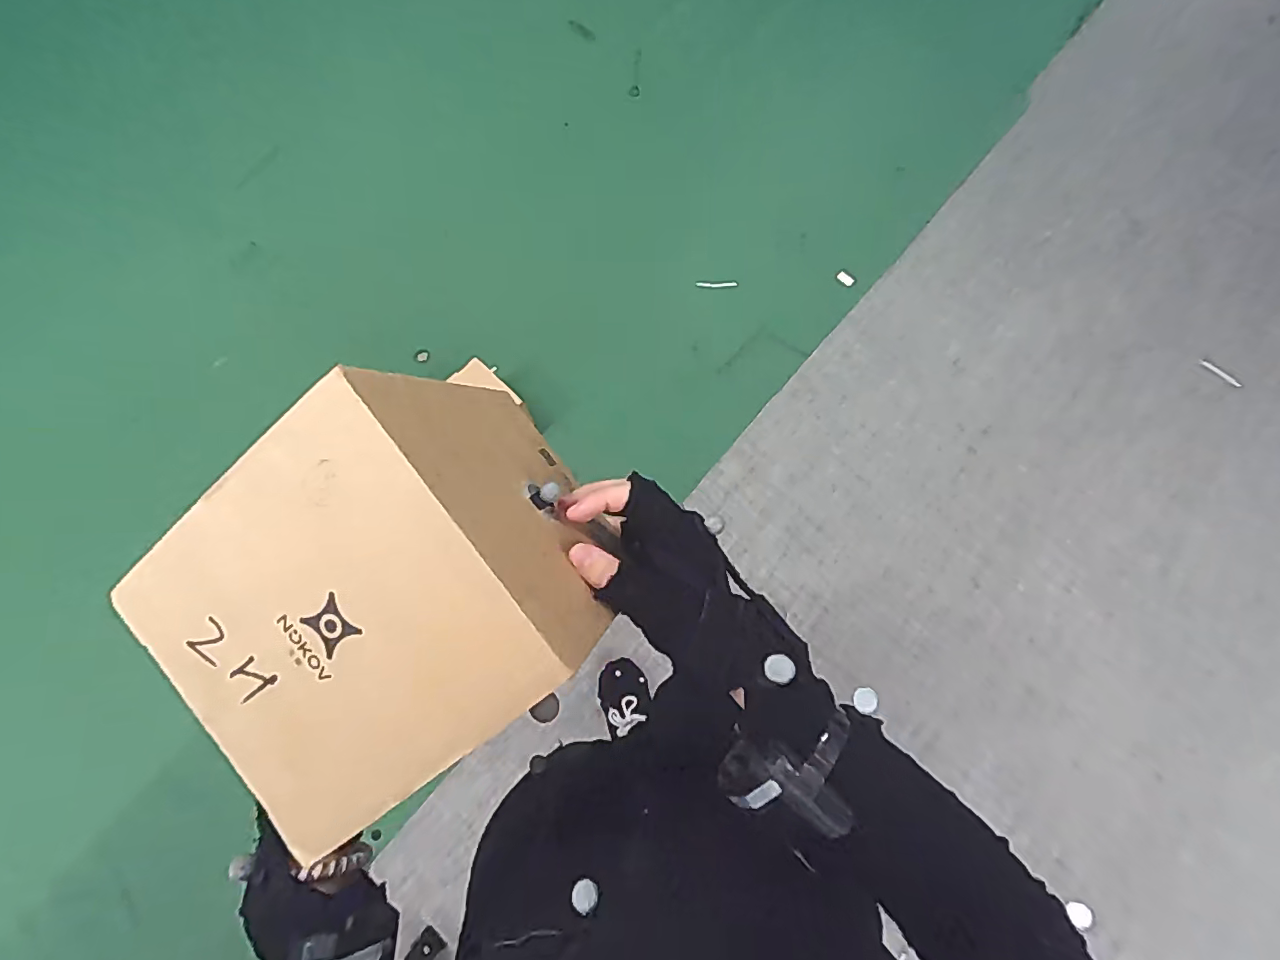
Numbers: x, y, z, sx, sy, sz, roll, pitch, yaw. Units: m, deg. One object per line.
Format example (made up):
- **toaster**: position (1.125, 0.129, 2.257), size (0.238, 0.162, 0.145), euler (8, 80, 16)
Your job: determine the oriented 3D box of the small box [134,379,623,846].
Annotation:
- **small box**: position (-0.127, 0.060, 0.332), size (0.179, 0.176, 0.168), euler (-39, 87, 13)
